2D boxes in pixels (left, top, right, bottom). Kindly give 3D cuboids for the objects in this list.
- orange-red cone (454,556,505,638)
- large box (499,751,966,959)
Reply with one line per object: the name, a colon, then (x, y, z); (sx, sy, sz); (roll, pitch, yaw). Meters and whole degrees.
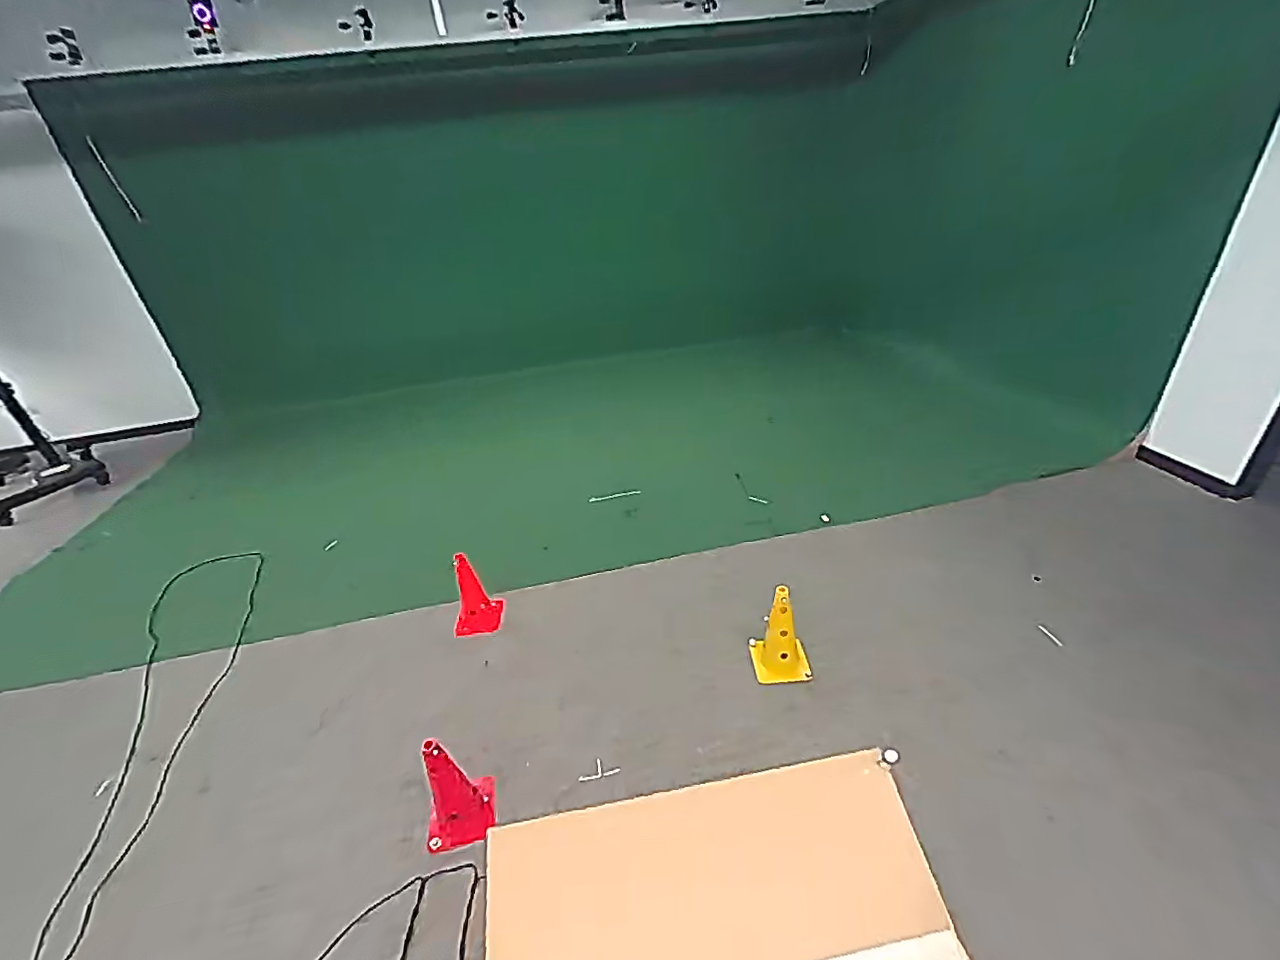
orange-red cone: (-0.736, 0.476, 2.326); (0.199, 0.360, 0.198); (-8, 30, 1)
large box: (0.089, 0.528, 0.572); (0.408, 0.320, 0.320); (-10, 53, -5)
